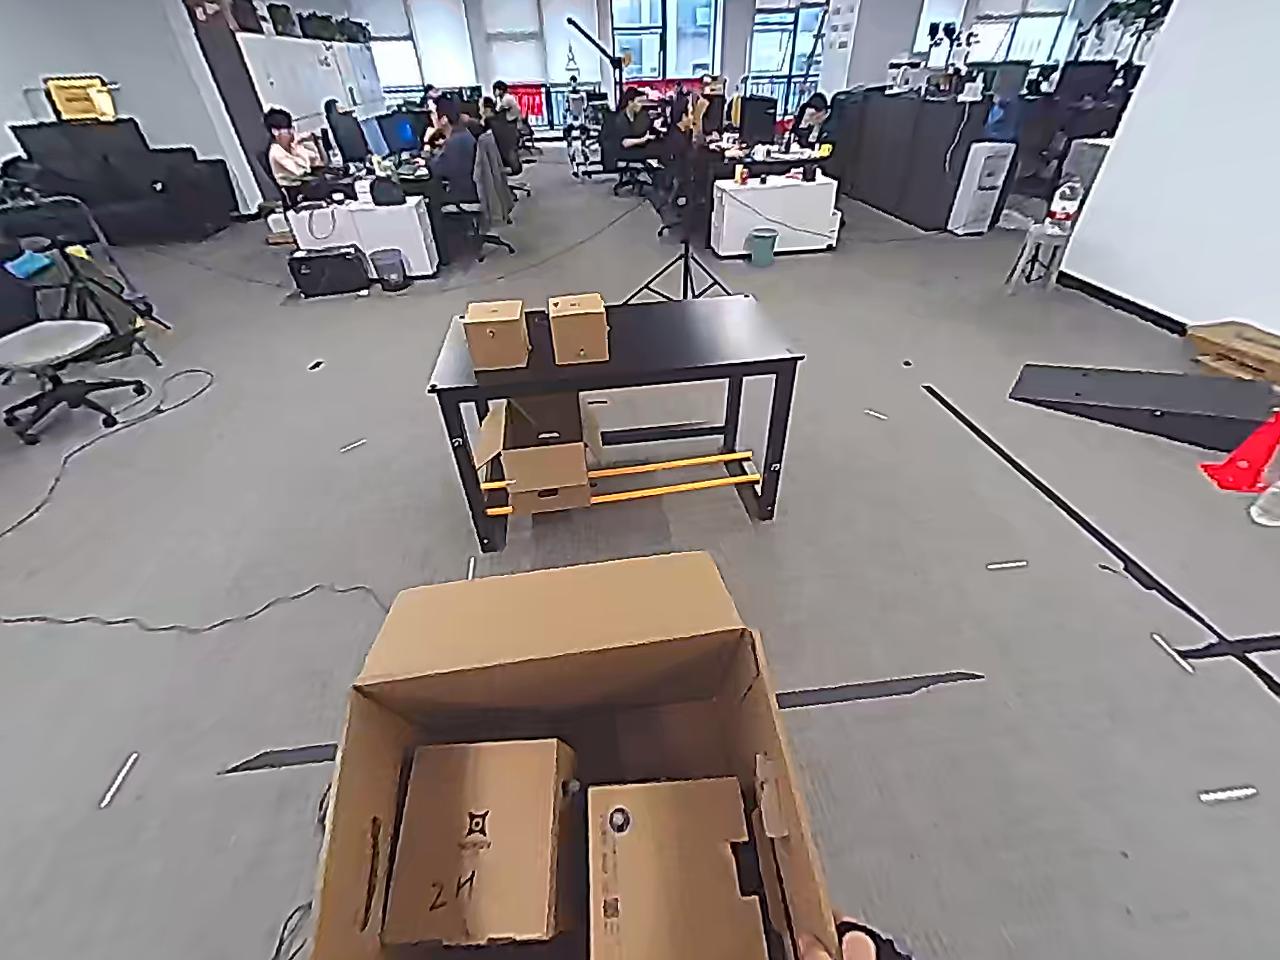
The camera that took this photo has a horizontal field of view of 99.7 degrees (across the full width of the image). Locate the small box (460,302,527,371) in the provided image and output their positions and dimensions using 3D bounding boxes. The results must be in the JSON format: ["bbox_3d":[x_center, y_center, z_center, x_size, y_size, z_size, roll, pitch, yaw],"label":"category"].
[{"bbox_3d":[-0.472,-0.467,1.768,0.179,0.176,0.168,-5,39,-5],"label":"small box"}]

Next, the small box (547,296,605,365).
[{"bbox_3d":[-0.211,-0.493,1.789,0.179,0.176,0.168,-6,38,-7],"label":"small box"}]
